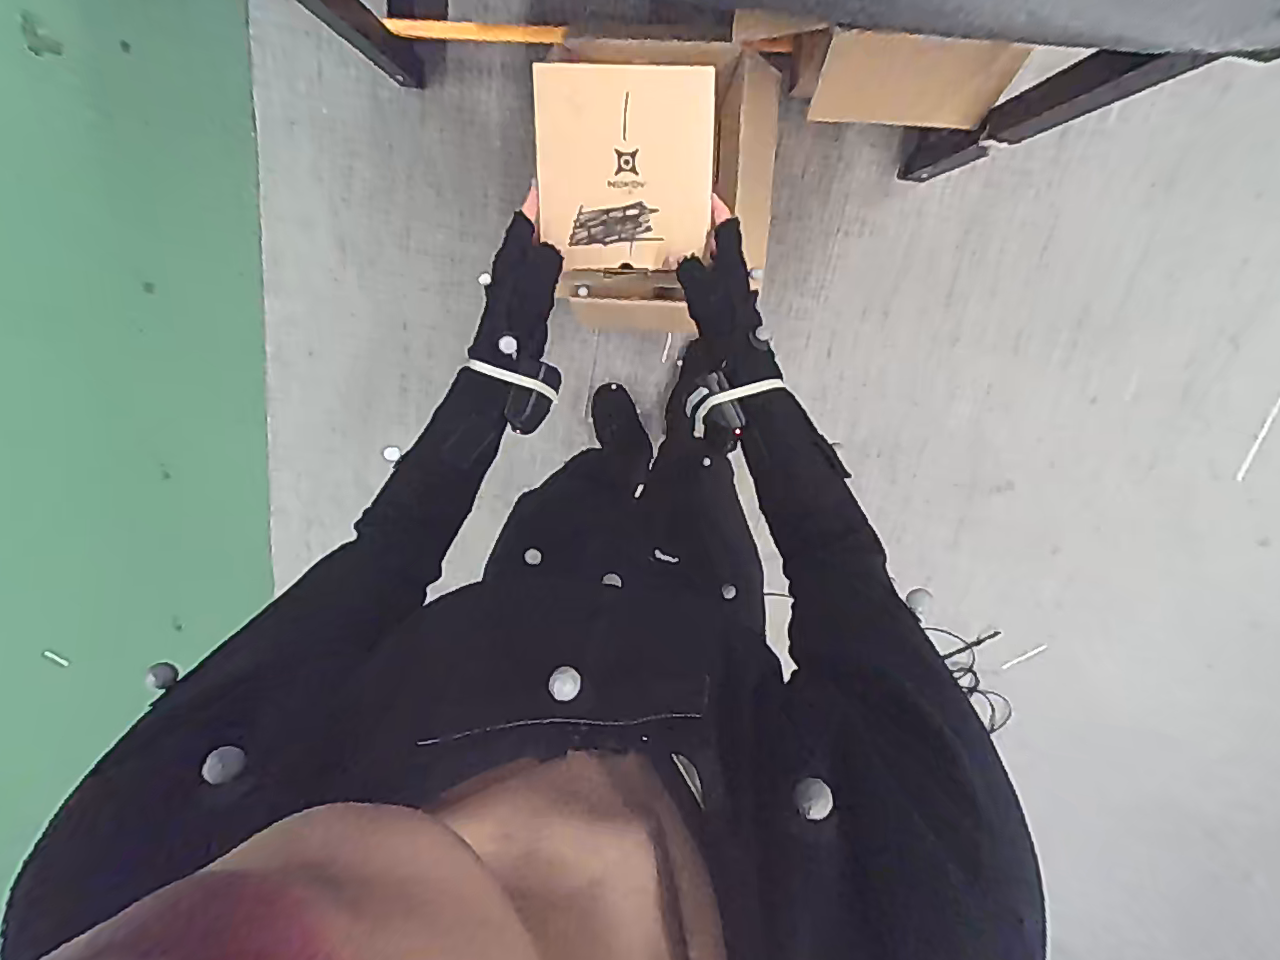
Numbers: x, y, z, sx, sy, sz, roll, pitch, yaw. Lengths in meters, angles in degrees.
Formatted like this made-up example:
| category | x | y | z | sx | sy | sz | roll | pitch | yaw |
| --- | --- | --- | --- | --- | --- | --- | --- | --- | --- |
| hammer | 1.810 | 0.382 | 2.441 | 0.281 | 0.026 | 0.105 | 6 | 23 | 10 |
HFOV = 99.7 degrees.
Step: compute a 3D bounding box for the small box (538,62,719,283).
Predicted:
| category | x | y | z | sx | sy | sz | roll | pitch | yaw |
| --- | --- | --- | --- | --- | --- | --- | --- | --- | --- |
| small box | -0.013 | -0.310 | 0.583 | 0.168 | 0.176 | 0.179 | -1 | 105 | -2 |
